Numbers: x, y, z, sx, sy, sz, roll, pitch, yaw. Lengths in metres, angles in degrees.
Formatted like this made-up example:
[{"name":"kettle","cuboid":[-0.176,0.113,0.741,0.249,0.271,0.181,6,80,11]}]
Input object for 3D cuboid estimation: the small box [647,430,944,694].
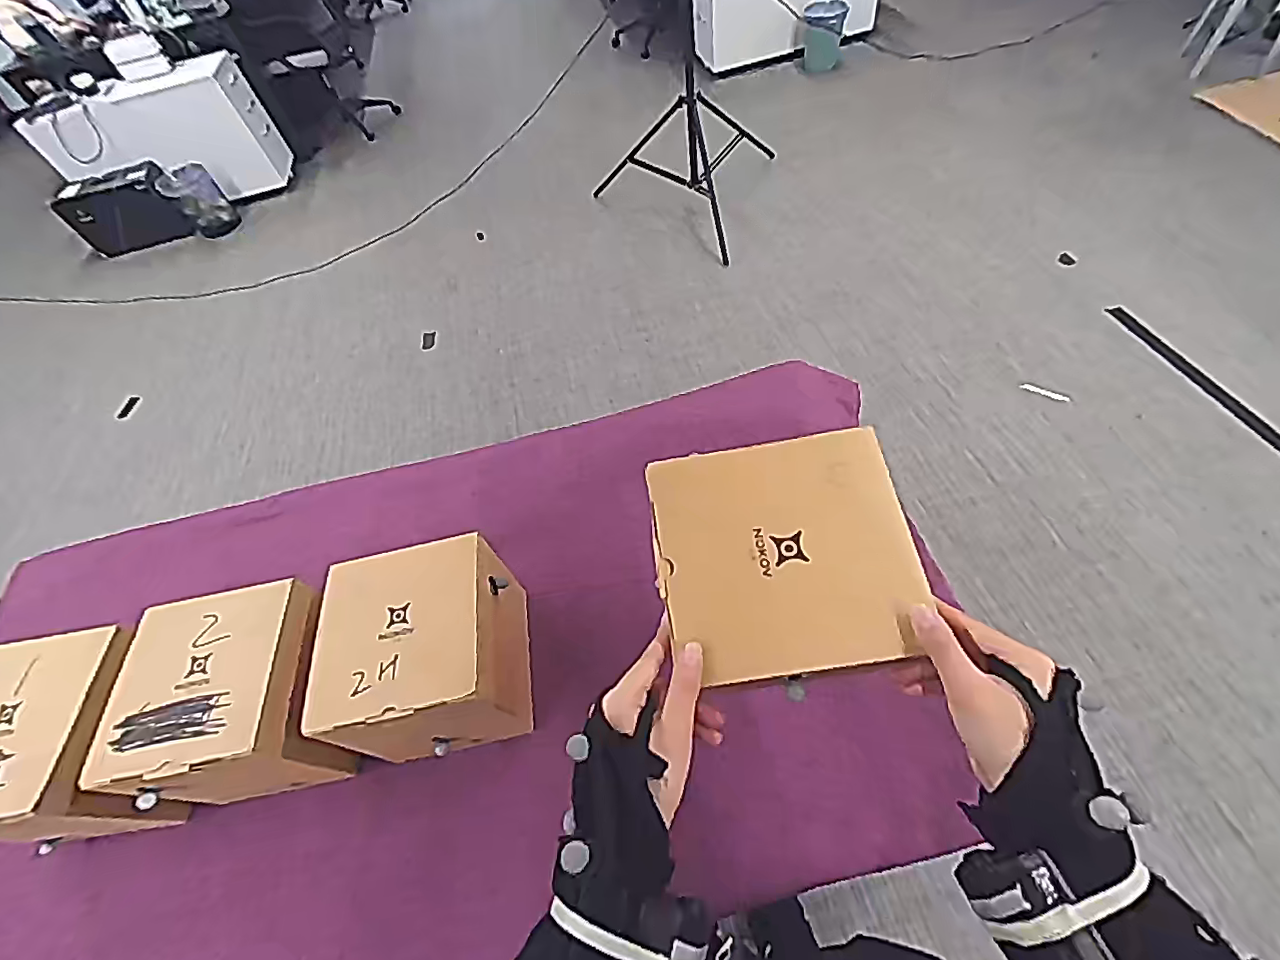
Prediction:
[{"name":"small box","cuboid":[0.109,0.080,0.450,0.179,0.176,0.168,-10,66,5]}]
